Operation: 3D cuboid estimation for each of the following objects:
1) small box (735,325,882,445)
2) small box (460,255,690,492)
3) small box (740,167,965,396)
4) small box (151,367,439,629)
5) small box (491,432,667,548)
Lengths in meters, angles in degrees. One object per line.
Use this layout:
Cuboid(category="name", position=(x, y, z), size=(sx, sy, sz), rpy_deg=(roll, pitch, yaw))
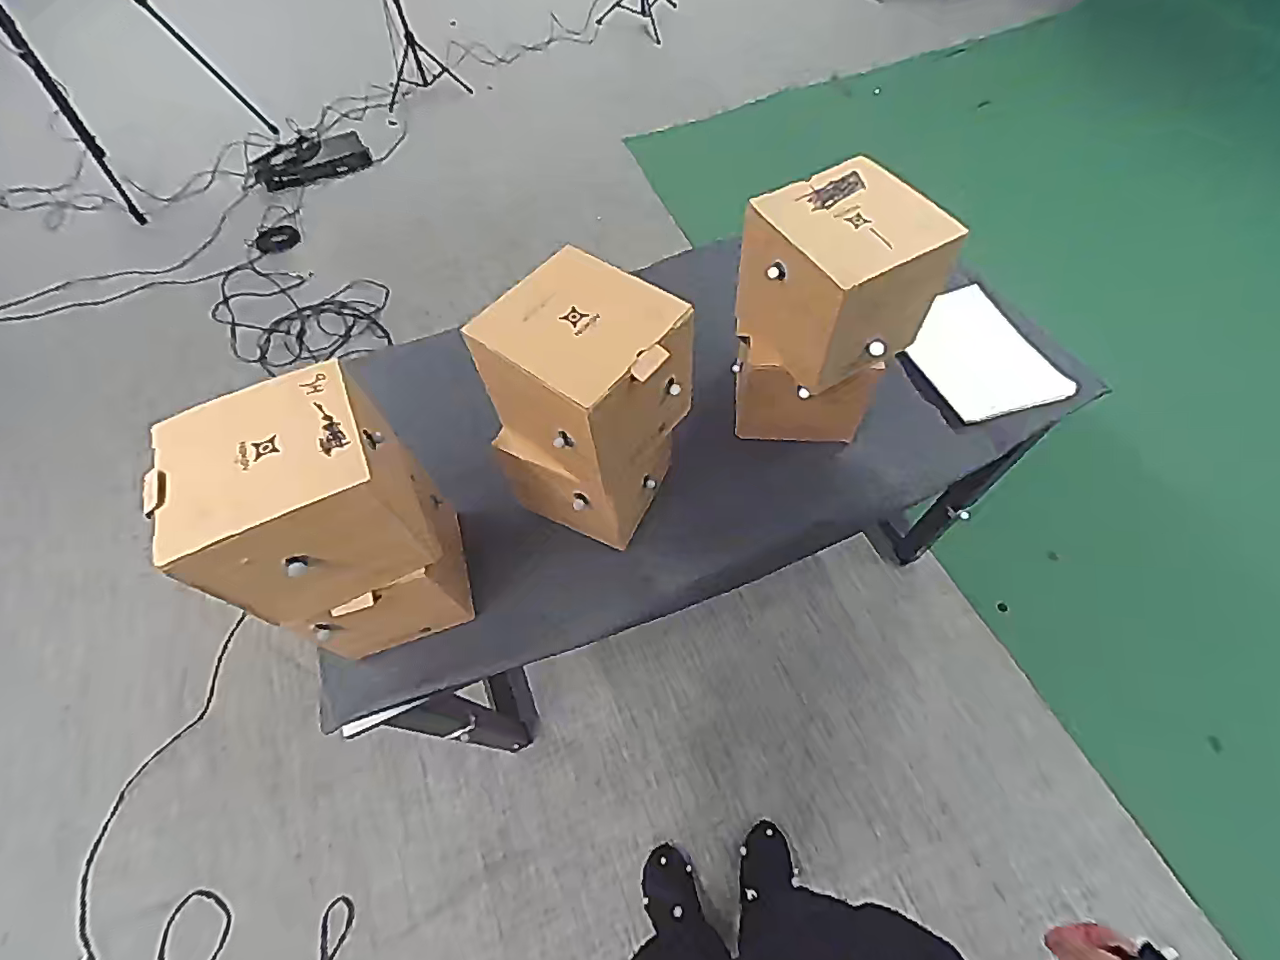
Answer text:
Cuboid(category="small box", position=(0.239, -0.165, 0.809), size=(0.179, 0.176, 0.168), rpy_deg=(3, 60, 7))
Cuboid(category="small box", position=(-0.060, -0.110, 0.608), size=(0.179, 0.176, 0.168), rpy_deg=(32, 65, 21))
Cuboid(category="small box", position=(0.237, -0.237, 0.661), size=(0.168, 0.176, 0.179), rpy_deg=(-27, 61, -10))
Cuboid(category="small box", position=(-0.334, 0.025, 0.546), size=(0.179, 0.176, 0.168), rpy_deg=(-25, 60, -11))
Cuboid(category="small box", position=(-0.069, -0.027, 0.749), size=(0.179, 0.176, 0.168), rpy_deg=(22, 62, 16))
